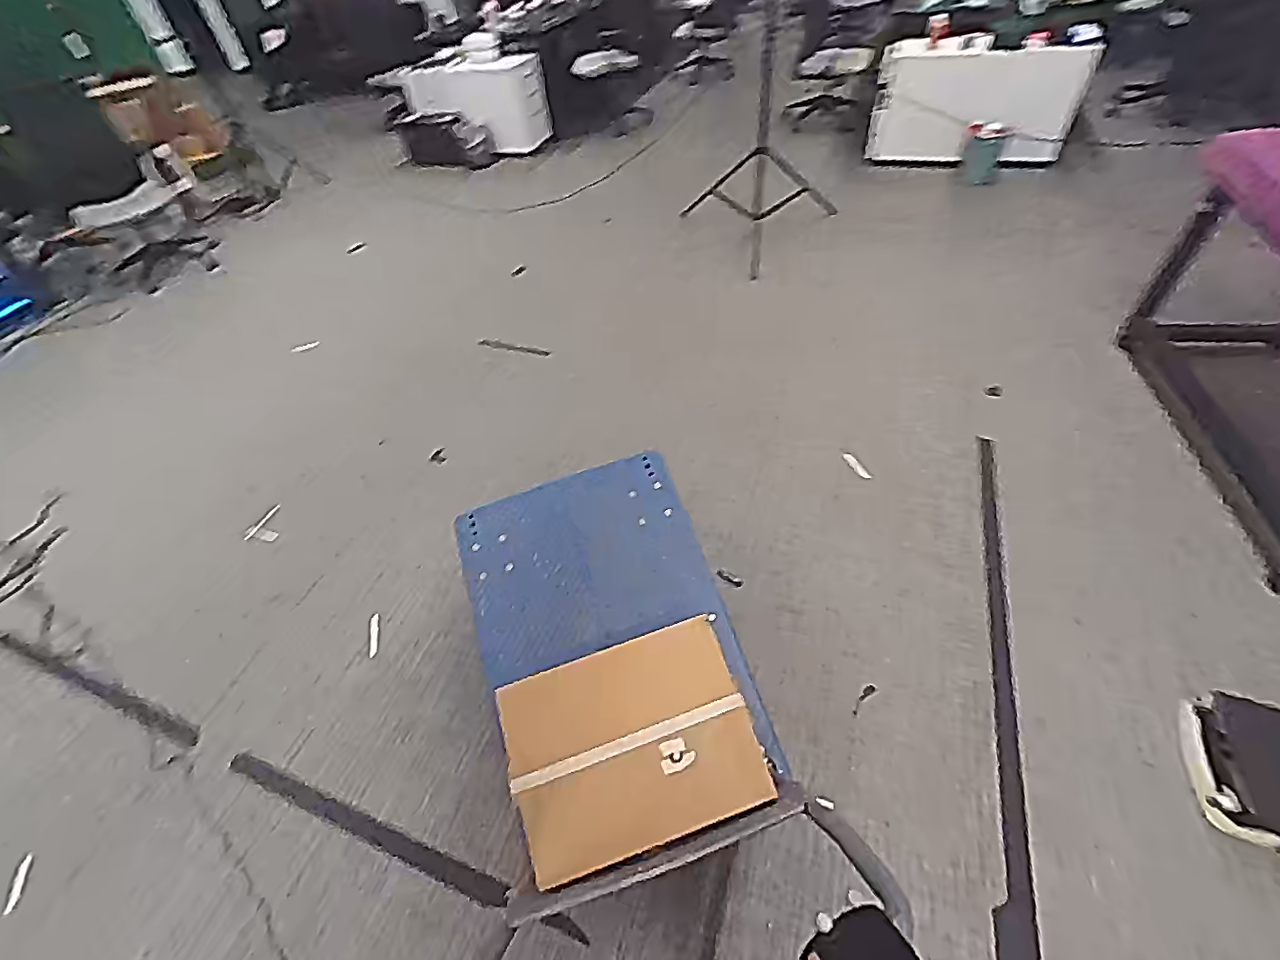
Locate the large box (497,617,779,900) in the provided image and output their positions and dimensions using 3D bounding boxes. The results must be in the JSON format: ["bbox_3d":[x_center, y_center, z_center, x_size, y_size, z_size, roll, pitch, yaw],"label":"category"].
[{"bbox_3d":[-0.008,0.503,1.031,0.408,0.320,0.320,-19,67,-6],"label":"large box"}]
